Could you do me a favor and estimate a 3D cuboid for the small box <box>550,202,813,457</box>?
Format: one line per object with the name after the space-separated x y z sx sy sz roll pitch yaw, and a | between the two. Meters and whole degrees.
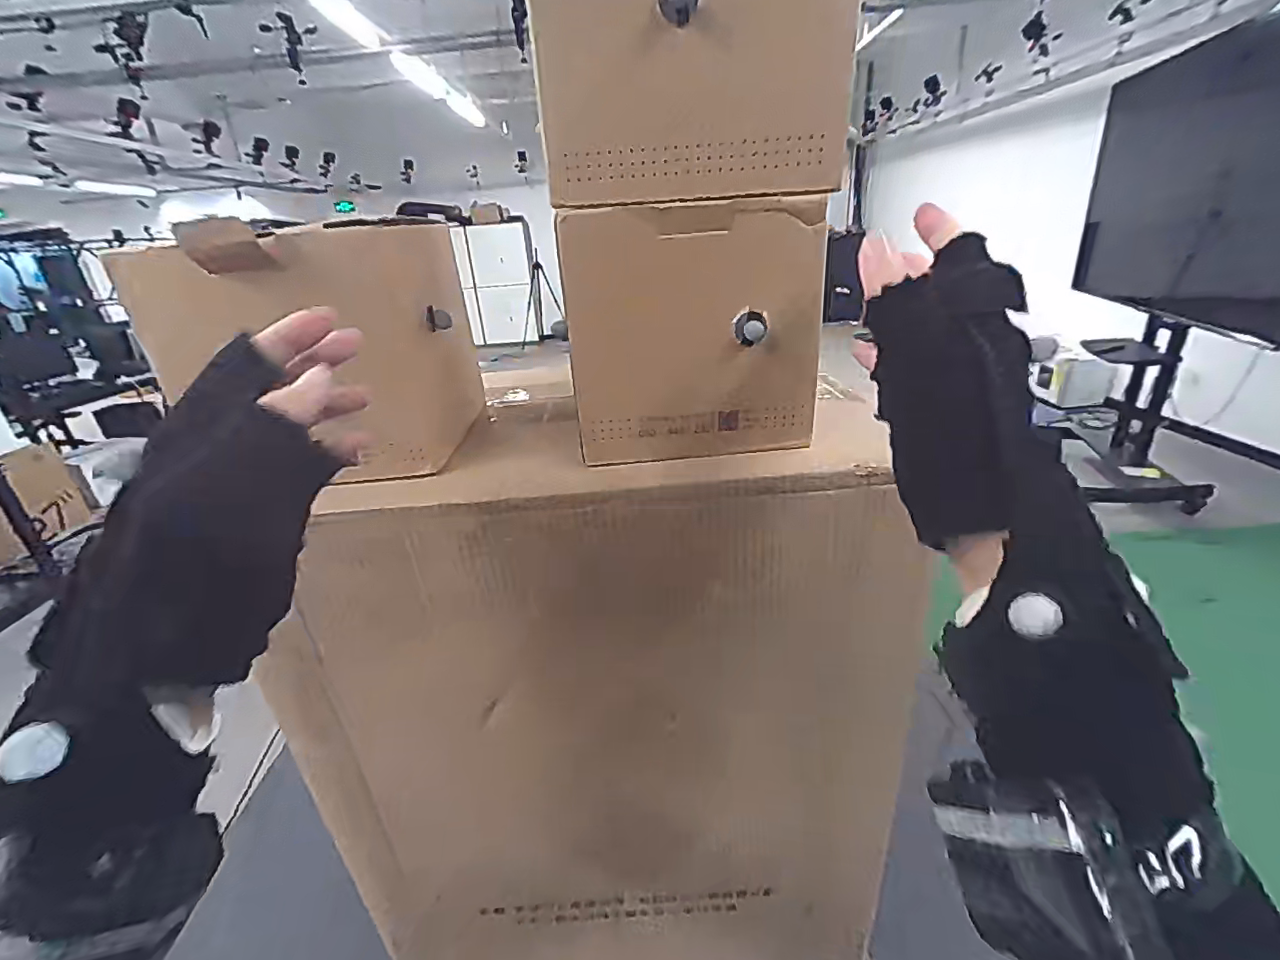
0.028 -0.122 0.436 0.168 0.176 0.179 -3 25 -1 | small box

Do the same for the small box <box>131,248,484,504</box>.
-0.238 -0.088 0.450 0.168 0.176 0.179 -7 26 -2 | small box

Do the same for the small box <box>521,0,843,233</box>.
0.028 -0.255 0.371 0.179 0.176 0.168 -2 25 3 | small box
